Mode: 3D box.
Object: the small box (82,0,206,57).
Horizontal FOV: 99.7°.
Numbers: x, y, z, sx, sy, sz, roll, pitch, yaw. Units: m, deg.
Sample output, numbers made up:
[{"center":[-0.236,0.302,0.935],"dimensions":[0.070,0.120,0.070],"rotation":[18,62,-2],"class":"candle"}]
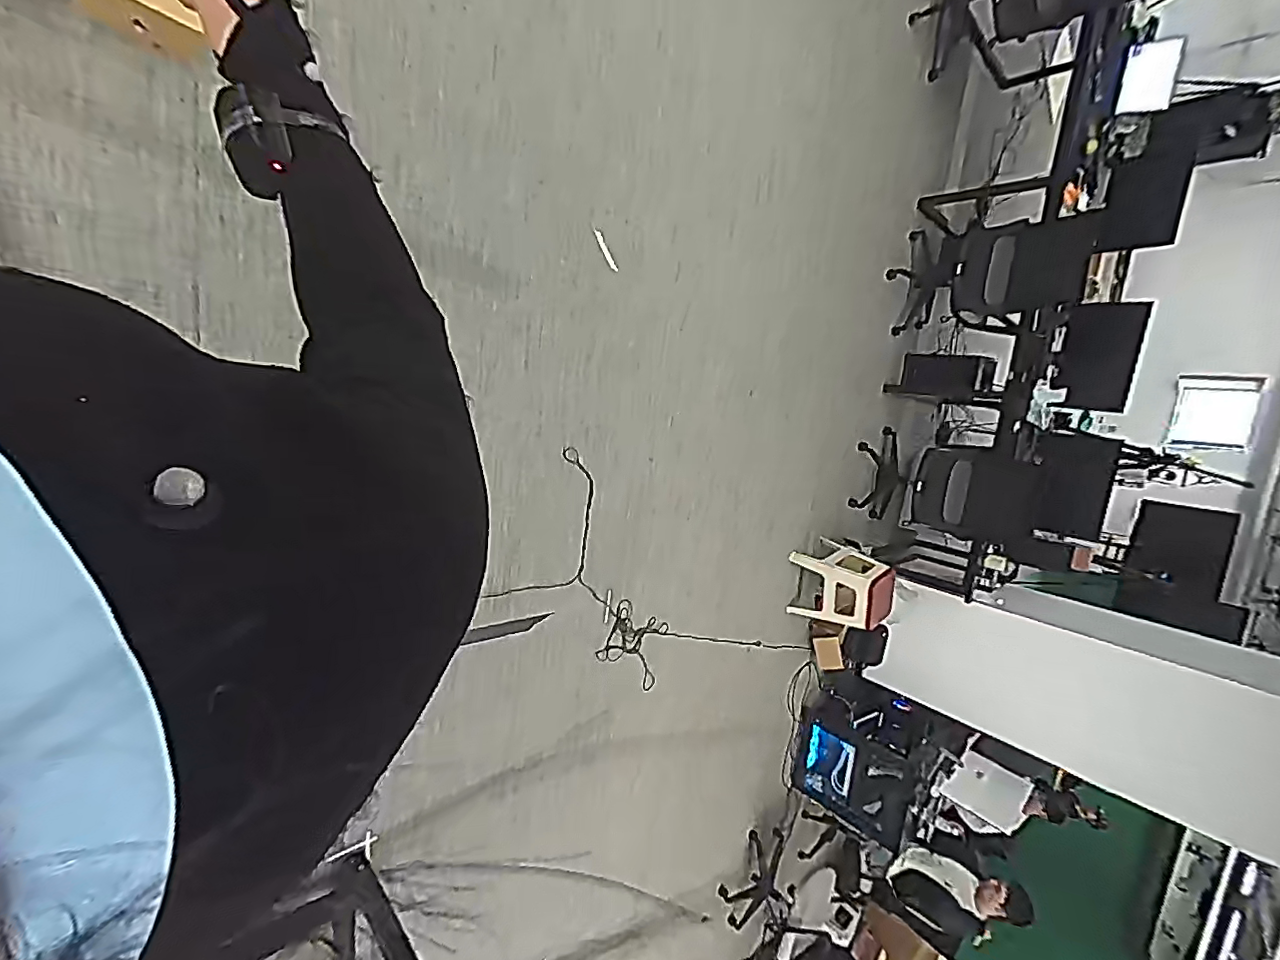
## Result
[{"center":[-0.868,-0.897,0.945],"dimensions":[0.168,0.176,0.179],"rotation":[4,98,-46],"class":"small box"}]
